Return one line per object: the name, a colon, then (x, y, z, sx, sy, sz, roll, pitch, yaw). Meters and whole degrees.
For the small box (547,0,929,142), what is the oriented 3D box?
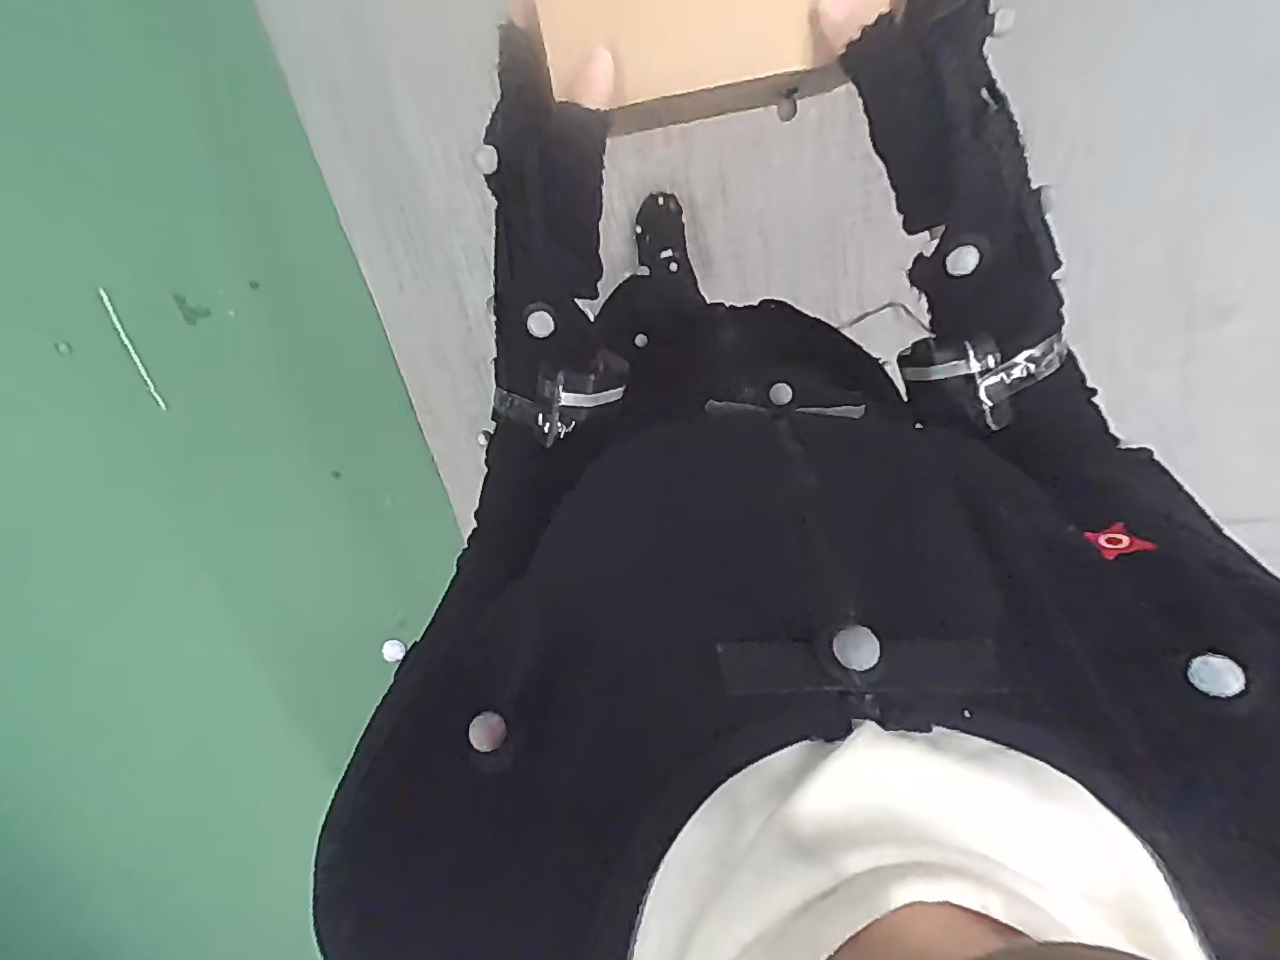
small box: (0.036, -0.304, 0.298, 0.179, 0.176, 0.168, -11, 117, 9)
